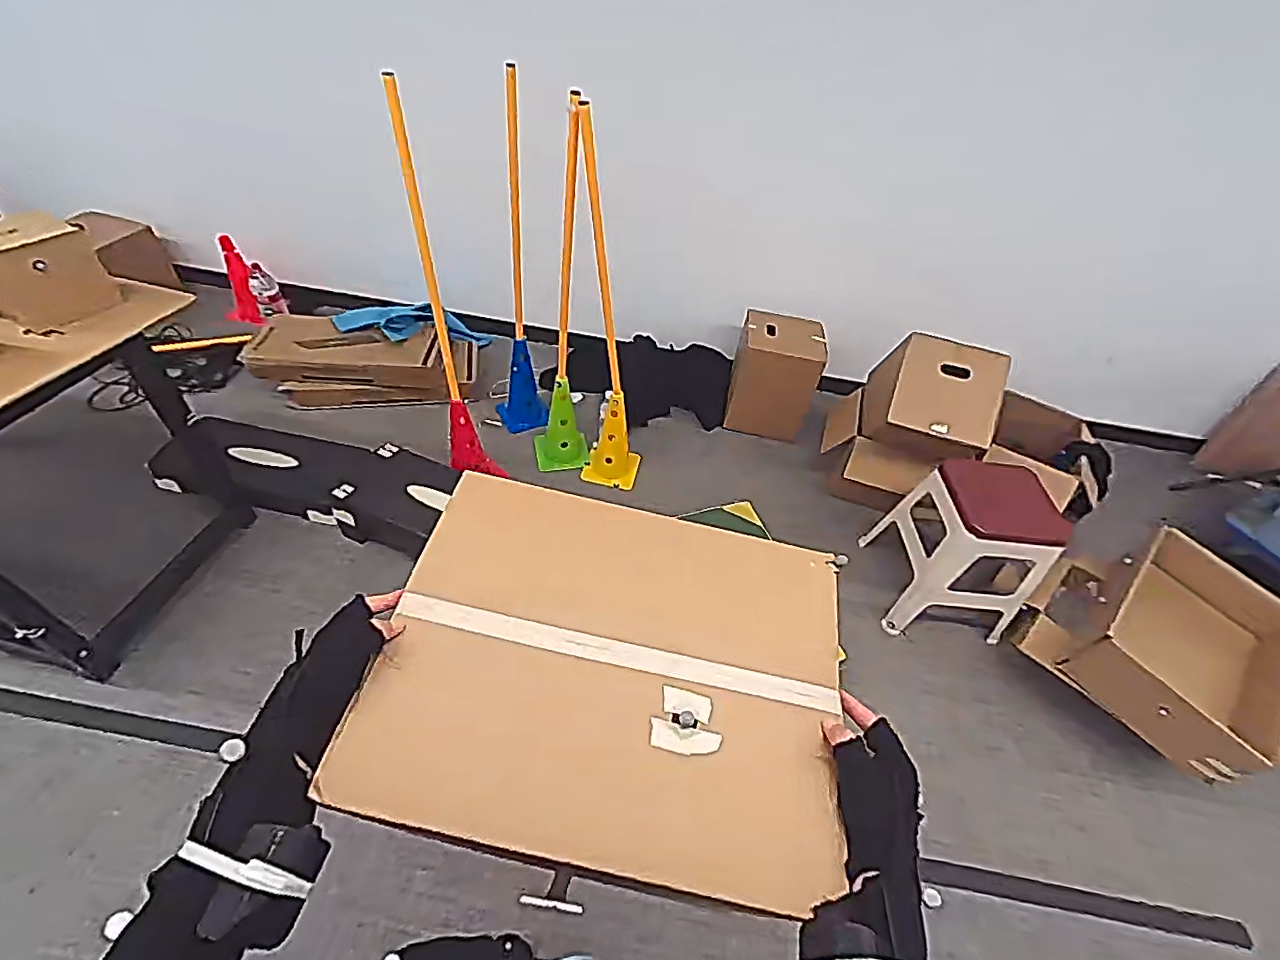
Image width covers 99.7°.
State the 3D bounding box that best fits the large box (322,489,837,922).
[{"bbox_3d":[-0.042,0.256,0.609,0.408,0.320,0.320,13,54,0],"label":"large box"}]
